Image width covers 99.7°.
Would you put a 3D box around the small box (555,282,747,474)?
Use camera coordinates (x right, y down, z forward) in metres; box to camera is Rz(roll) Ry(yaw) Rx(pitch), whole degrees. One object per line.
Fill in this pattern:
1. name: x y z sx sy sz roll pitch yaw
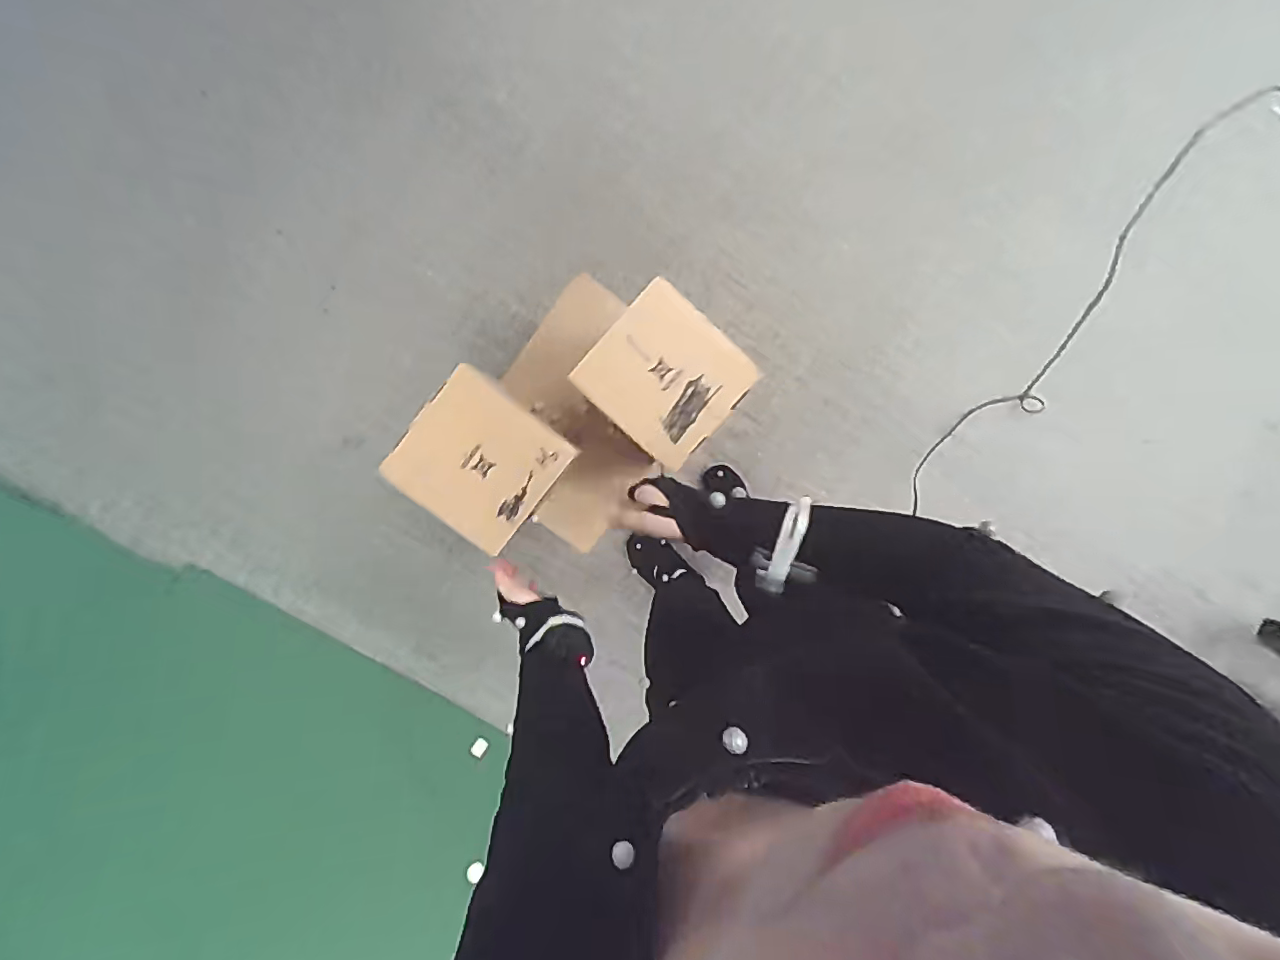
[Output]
1. small box: 0.014 -0.127 0.730 0.179 0.176 0.168 40 92 -2

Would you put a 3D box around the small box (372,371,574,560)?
1. small box: -0.209 -0.019 0.729 0.179 0.176 0.168 37 91 -4
